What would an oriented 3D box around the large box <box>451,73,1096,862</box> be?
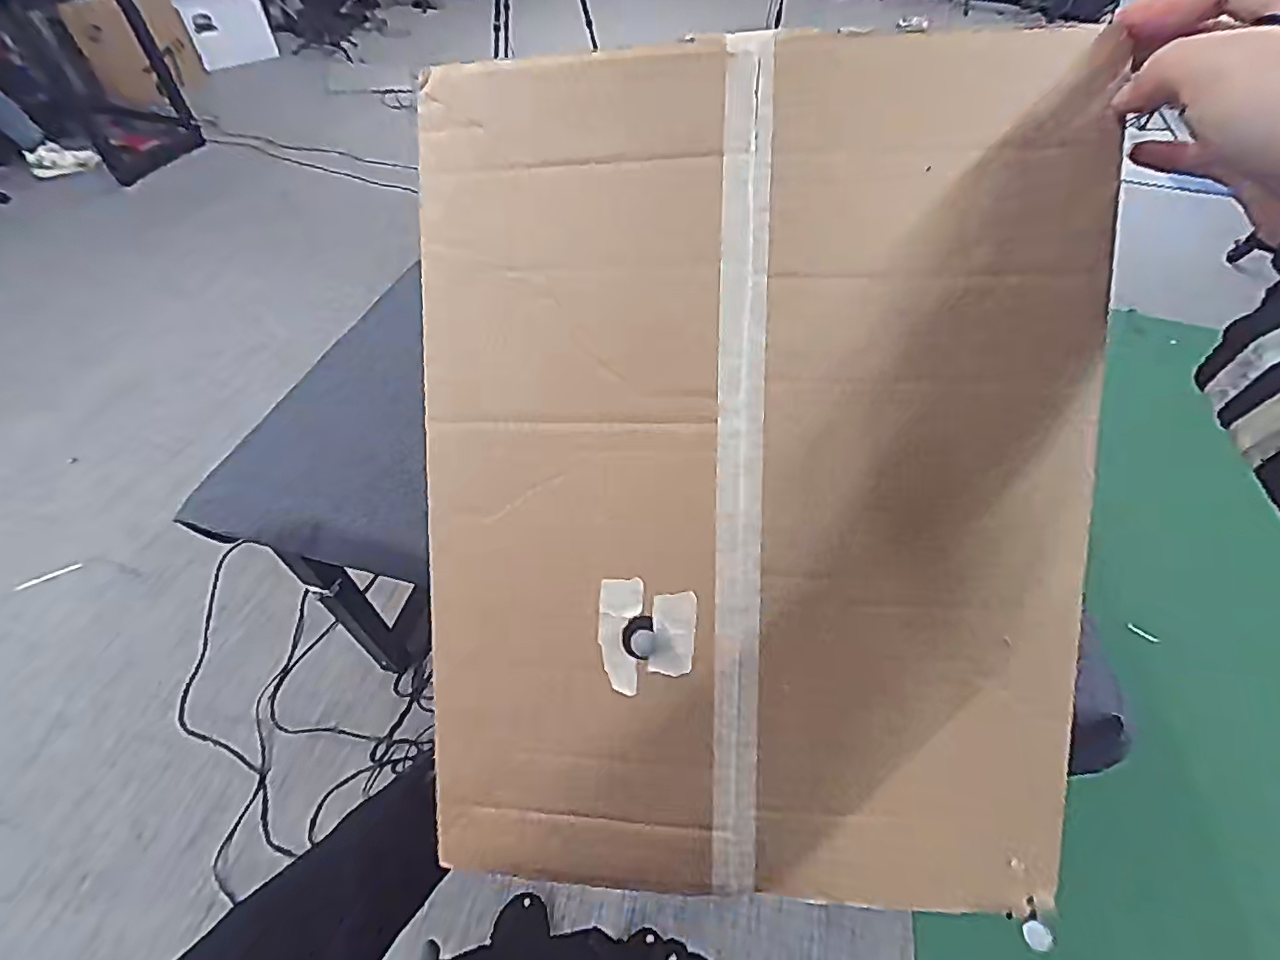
[{"bbox_3d":[0.072,-0.008,0.428,0.320,0.408,0.320,0,7,5],"label":"large box"}]
